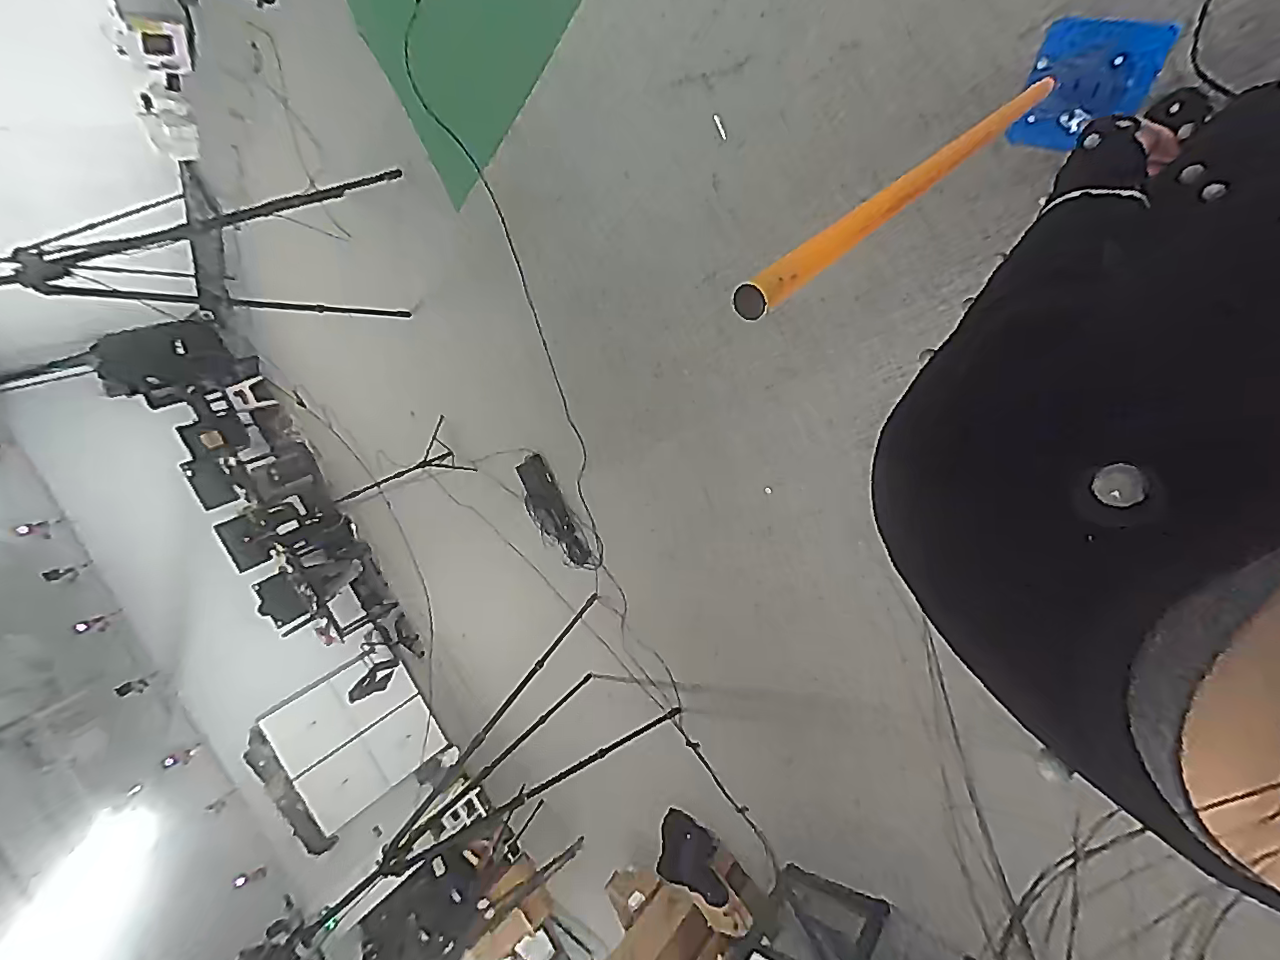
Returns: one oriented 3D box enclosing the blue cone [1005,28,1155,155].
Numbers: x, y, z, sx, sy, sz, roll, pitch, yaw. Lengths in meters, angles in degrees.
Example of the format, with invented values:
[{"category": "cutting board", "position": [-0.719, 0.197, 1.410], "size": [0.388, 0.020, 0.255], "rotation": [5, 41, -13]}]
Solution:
[{"category": "blue cone", "position": [0.714, -0.655, 0.920], "size": [0.192, 0.380, 0.193], "rotation": [31, 136, 29]}]
